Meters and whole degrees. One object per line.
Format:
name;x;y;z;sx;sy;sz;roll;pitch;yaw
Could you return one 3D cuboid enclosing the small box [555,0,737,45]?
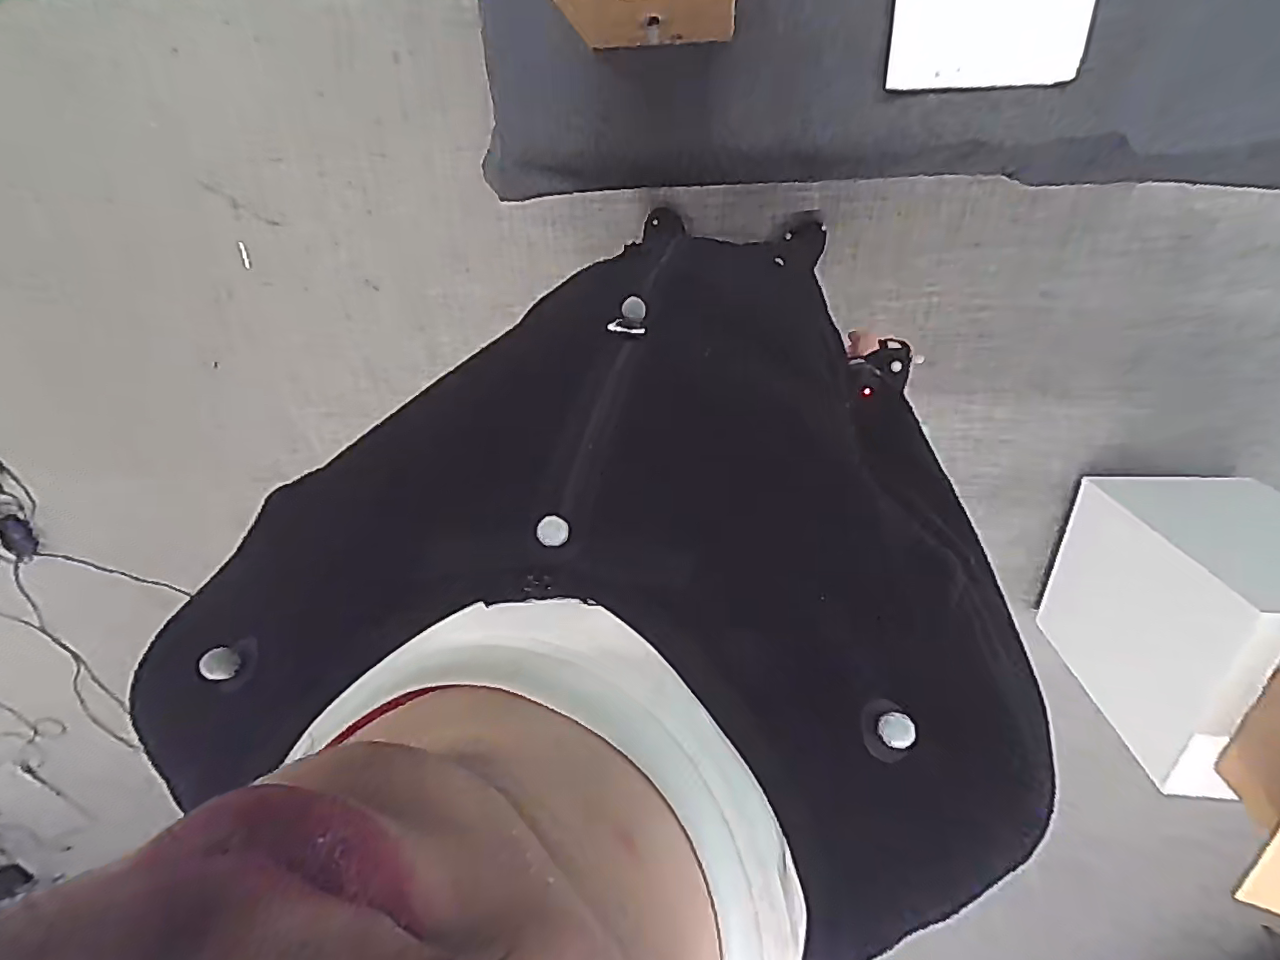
small box;0.012;-0.535;0.507;0.168;0.176;0.179;2;116;7
